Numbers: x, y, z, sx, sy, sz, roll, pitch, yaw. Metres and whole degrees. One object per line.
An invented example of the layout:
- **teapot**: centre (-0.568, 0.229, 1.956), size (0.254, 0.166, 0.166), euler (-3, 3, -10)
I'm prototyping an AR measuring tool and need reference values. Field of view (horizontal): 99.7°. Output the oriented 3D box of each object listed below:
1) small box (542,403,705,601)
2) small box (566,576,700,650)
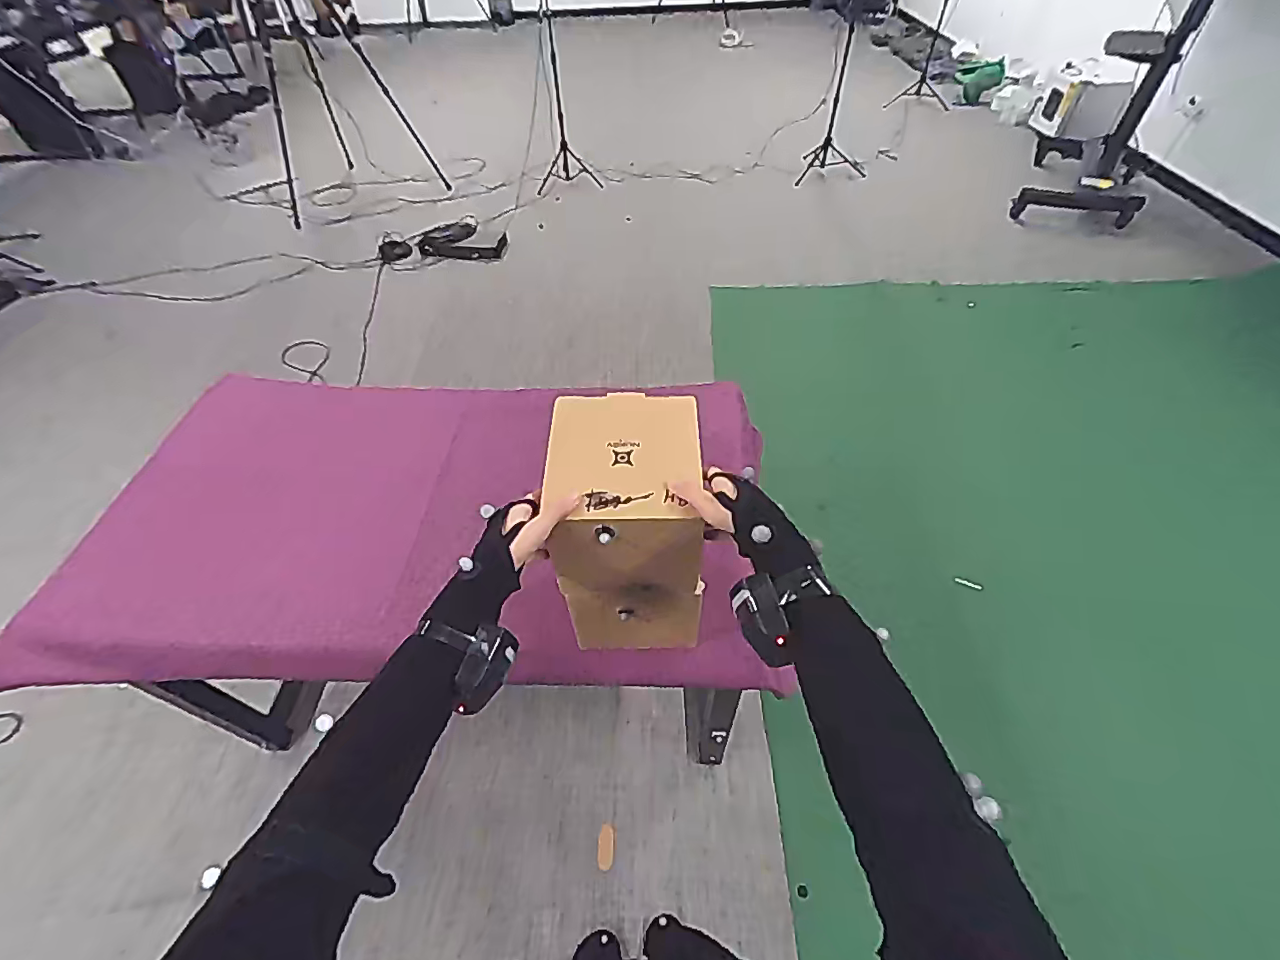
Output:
- **small box**: centre (-0.013, 0.027, 0.648), size (0.168, 0.176, 0.179), euler (-1, 51, 2)
- **small box**: centre (-0.005, 0.143, 0.805), size (0.179, 0.176, 0.168), euler (-1, 50, 1)
